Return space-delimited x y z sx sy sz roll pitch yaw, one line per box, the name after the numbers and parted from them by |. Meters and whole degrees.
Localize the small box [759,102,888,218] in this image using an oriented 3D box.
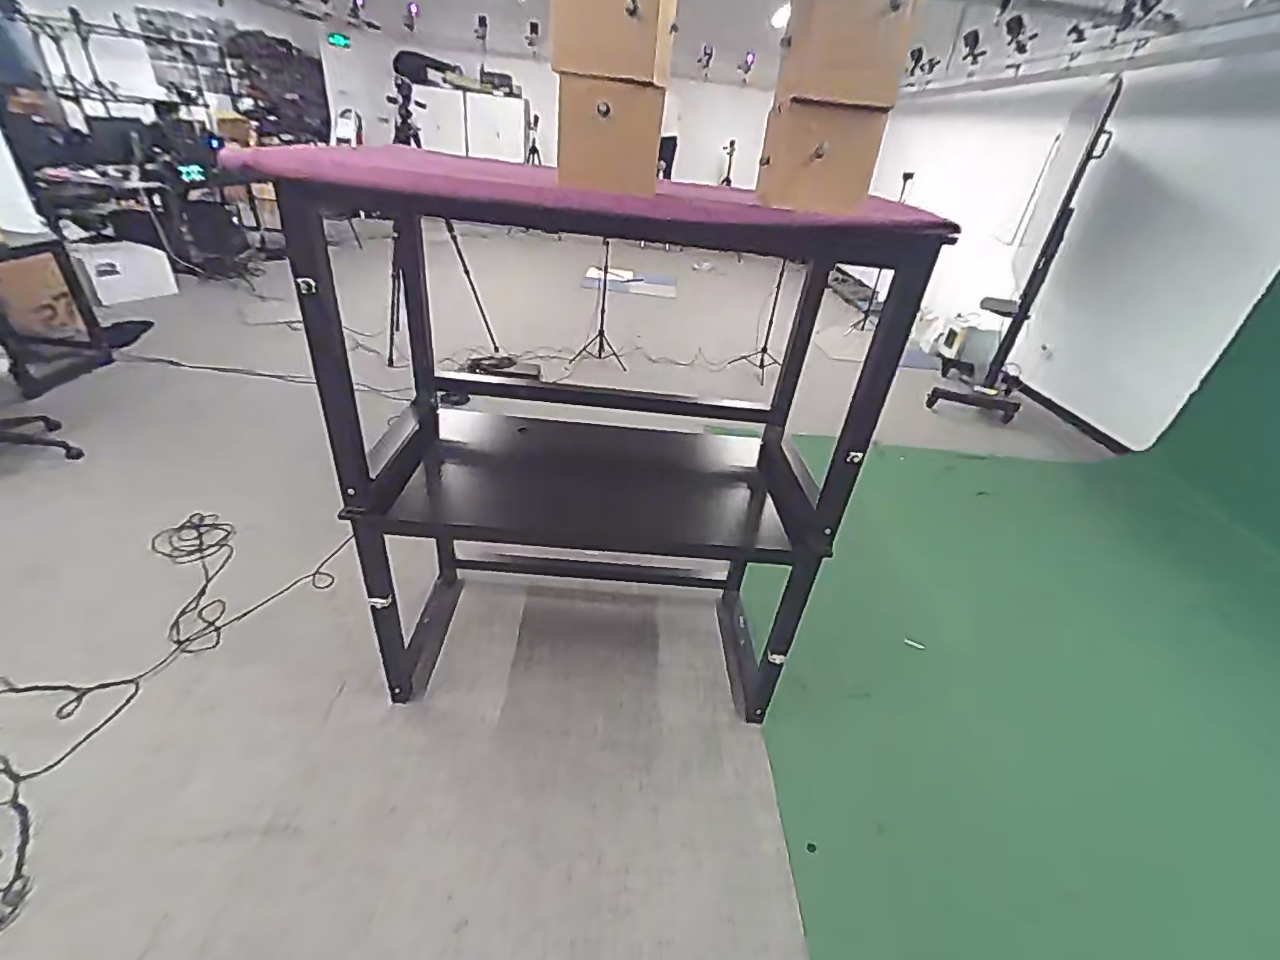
0.328 -0.591 1.014 0.179 0.176 0.168 4 30 -2 | small box

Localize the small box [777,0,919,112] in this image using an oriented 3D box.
0.343 -0.726 0.922 0.179 0.176 0.168 4 30 -3 | small box

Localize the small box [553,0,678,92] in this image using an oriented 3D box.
-0.037 -0.754 0.896 0.179 0.176 0.168 10 31 6 | small box

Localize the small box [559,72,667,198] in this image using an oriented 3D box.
-0.050 -0.618 0.982 0.179 0.176 0.168 6 32 -3 | small box
